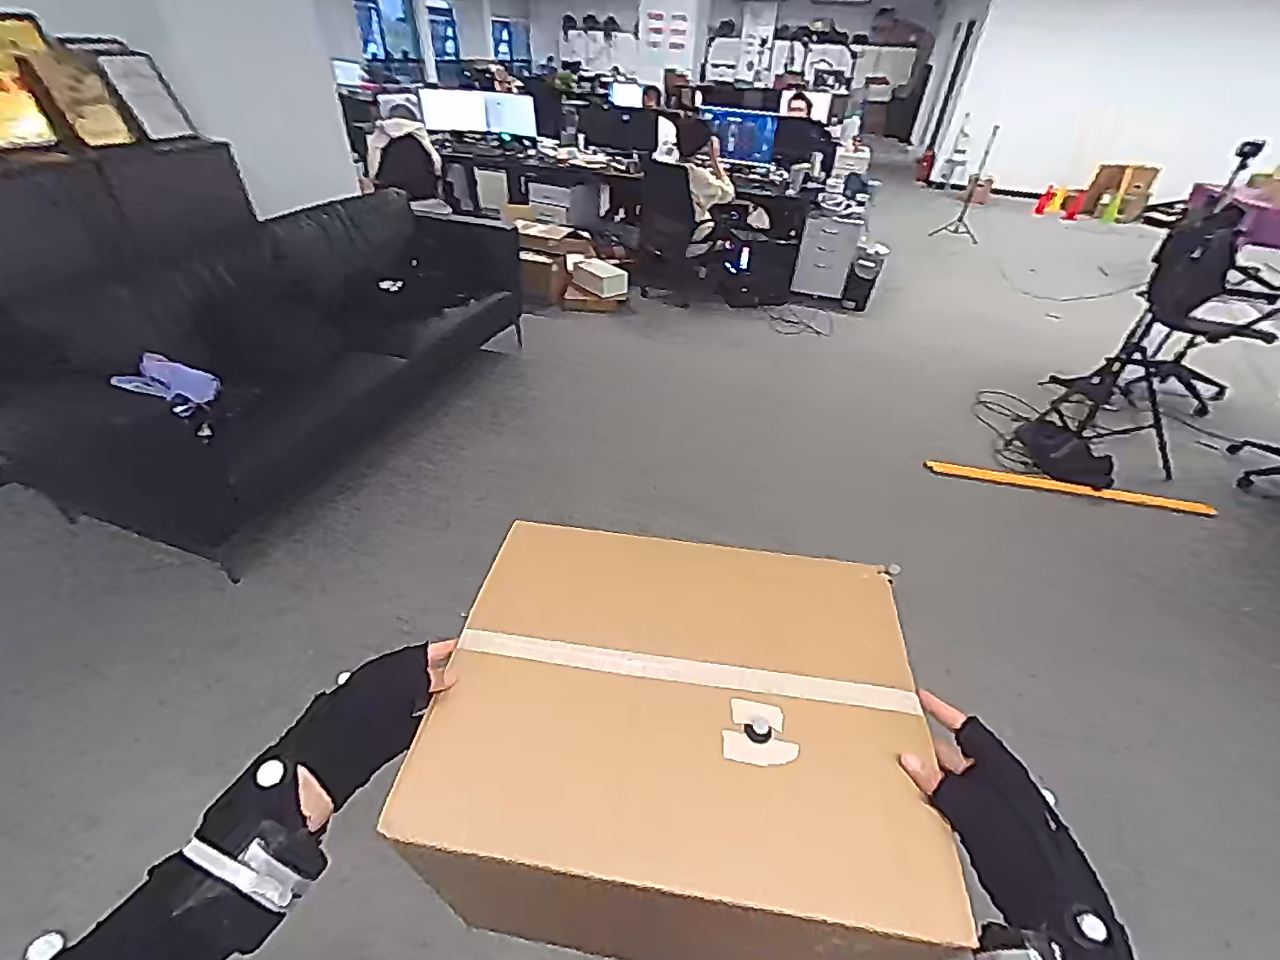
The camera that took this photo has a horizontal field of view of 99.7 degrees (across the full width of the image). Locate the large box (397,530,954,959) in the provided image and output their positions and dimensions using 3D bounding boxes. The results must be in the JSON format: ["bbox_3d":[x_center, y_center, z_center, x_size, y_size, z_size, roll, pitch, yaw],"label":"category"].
[{"bbox_3d":[0.031,0.284,0.586,0.408,0.320,0.320,6,42,6],"label":"large box"}]
